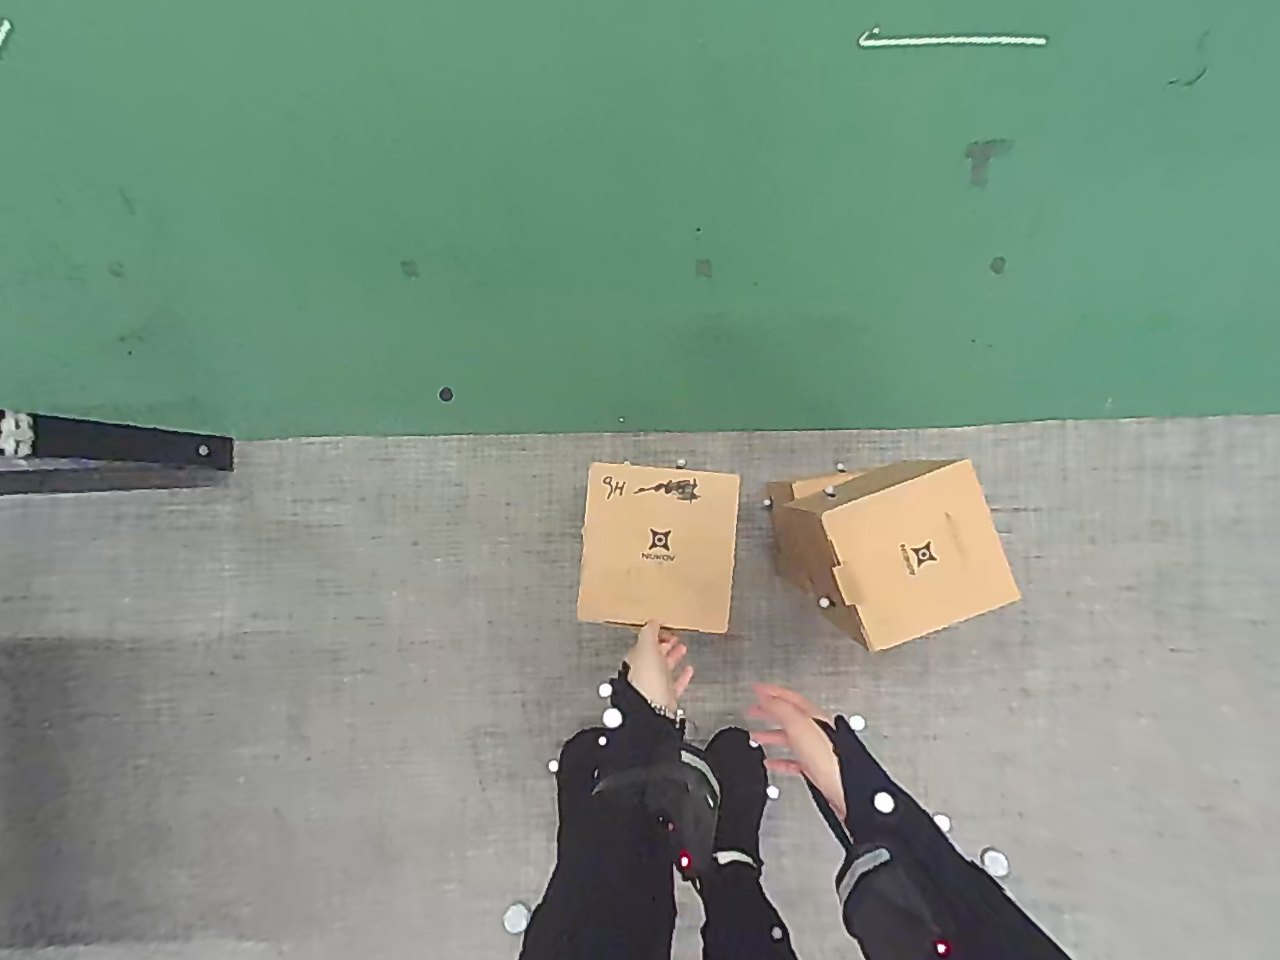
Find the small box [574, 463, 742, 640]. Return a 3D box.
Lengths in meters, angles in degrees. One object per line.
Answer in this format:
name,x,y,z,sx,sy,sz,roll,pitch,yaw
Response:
small box,0.021,0.076,0.651,0.168,0.176,0.179,5,89,1

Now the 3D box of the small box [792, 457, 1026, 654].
small box,0.300,0.081,0.650,0.179,0.176,0.168,-21,91,-1

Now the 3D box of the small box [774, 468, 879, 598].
small box,0.309,0.072,0.812,0.179,0.176,0.168,-8,90,-1
